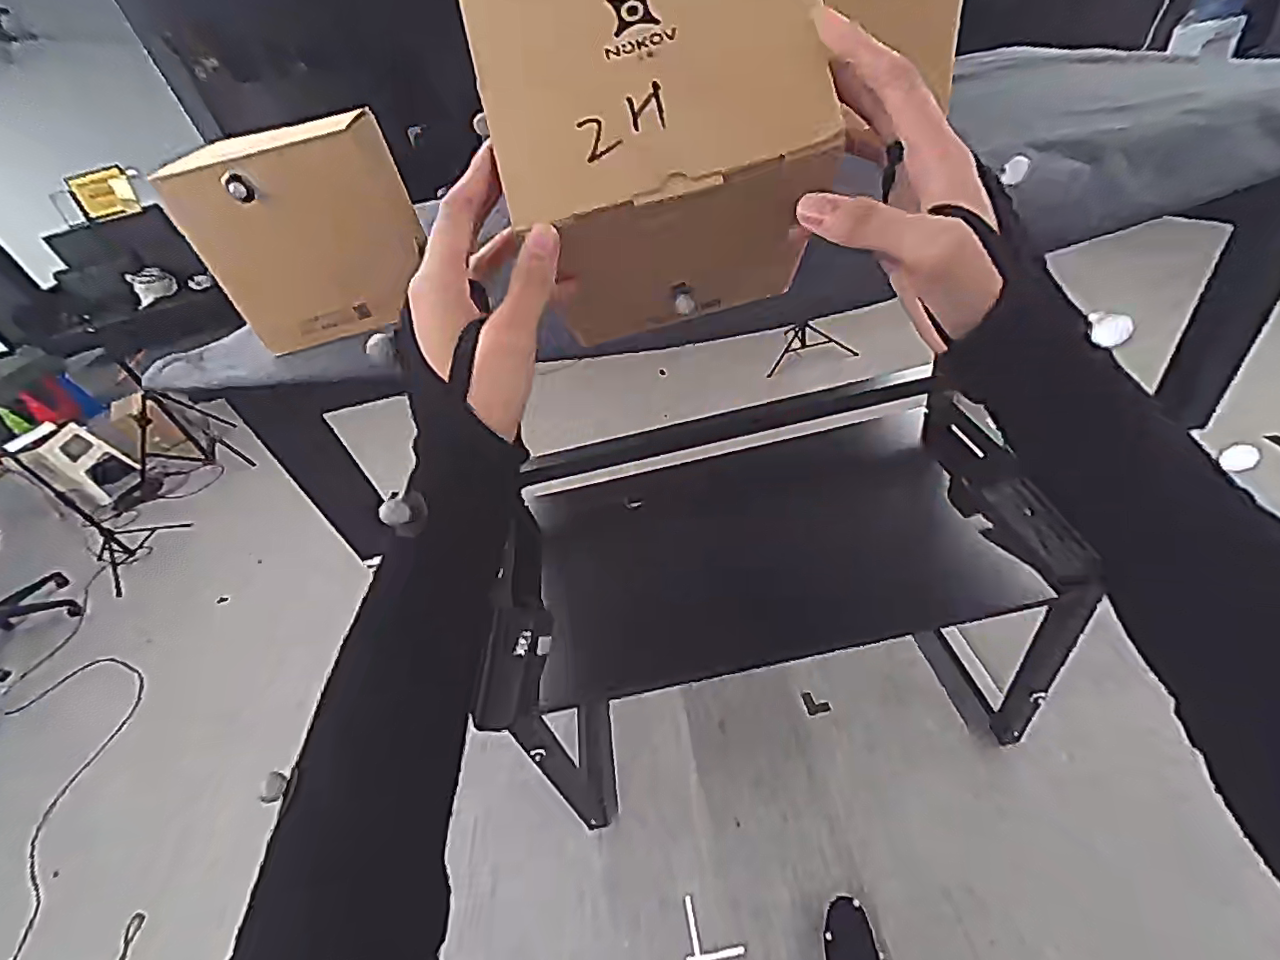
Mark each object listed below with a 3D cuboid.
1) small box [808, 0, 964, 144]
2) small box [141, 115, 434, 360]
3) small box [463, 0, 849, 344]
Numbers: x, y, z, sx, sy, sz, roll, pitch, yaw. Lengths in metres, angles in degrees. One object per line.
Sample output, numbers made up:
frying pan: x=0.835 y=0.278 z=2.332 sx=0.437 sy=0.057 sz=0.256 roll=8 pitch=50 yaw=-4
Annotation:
small box: x=0.293 y=-0.560 z=0.715 sx=0.168 sy=0.176 sz=0.179 roll=-13 pitch=41 yaw=3
small box: x=-0.325 y=-0.247 z=0.550 sx=0.168 sy=0.176 sz=0.179 roll=-18 pitch=41 yaw=-3
small box: x=0.006 y=-0.211 z=0.344 sx=0.168 sy=0.176 sz=0.179 roll=-15 pitch=85 yaw=4
